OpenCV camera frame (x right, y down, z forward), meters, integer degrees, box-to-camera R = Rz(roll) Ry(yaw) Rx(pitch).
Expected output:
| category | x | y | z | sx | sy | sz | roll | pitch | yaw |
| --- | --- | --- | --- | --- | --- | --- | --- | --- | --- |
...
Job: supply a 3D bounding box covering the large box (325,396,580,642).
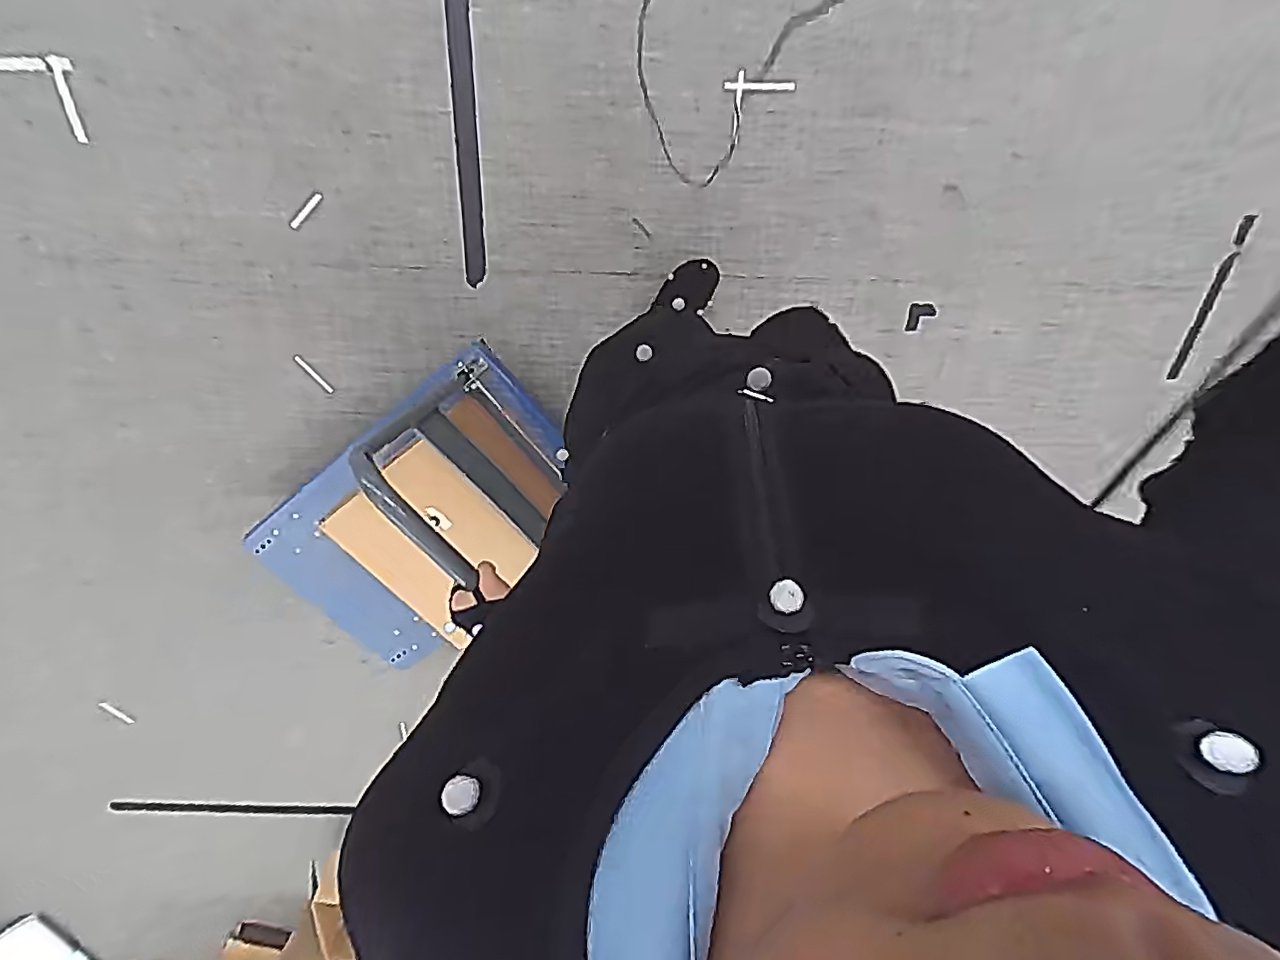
| category | x | y | z | sx | sy | sz | roll | pitch | yaw |
| --- | --- | --- | --- | --- | --- | --- | --- | --- | --- |
| large box | -0.393 | 0.080 | 1.245 | 0.320 | 0.320 | 0.408 | -36 | 109 | 13 |
